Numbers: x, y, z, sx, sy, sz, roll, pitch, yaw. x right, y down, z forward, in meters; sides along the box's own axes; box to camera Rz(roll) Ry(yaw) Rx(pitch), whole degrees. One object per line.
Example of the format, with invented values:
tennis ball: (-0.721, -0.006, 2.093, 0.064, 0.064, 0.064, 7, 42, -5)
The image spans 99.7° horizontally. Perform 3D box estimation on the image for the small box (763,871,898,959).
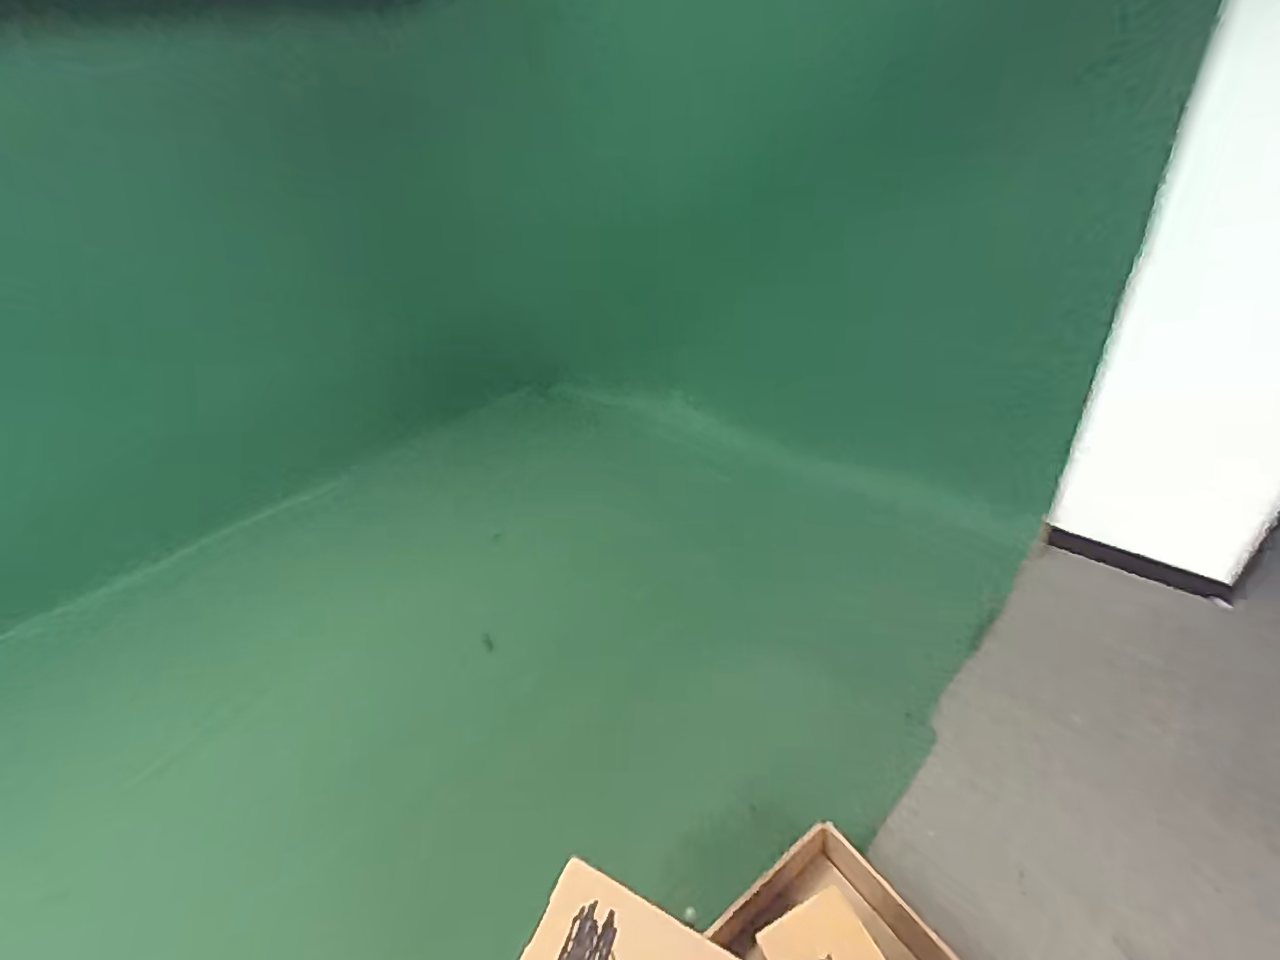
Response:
small box: (0.321, 0.812, 0.903, 0.168, 0.176, 0.179, -22, 39, -13)
